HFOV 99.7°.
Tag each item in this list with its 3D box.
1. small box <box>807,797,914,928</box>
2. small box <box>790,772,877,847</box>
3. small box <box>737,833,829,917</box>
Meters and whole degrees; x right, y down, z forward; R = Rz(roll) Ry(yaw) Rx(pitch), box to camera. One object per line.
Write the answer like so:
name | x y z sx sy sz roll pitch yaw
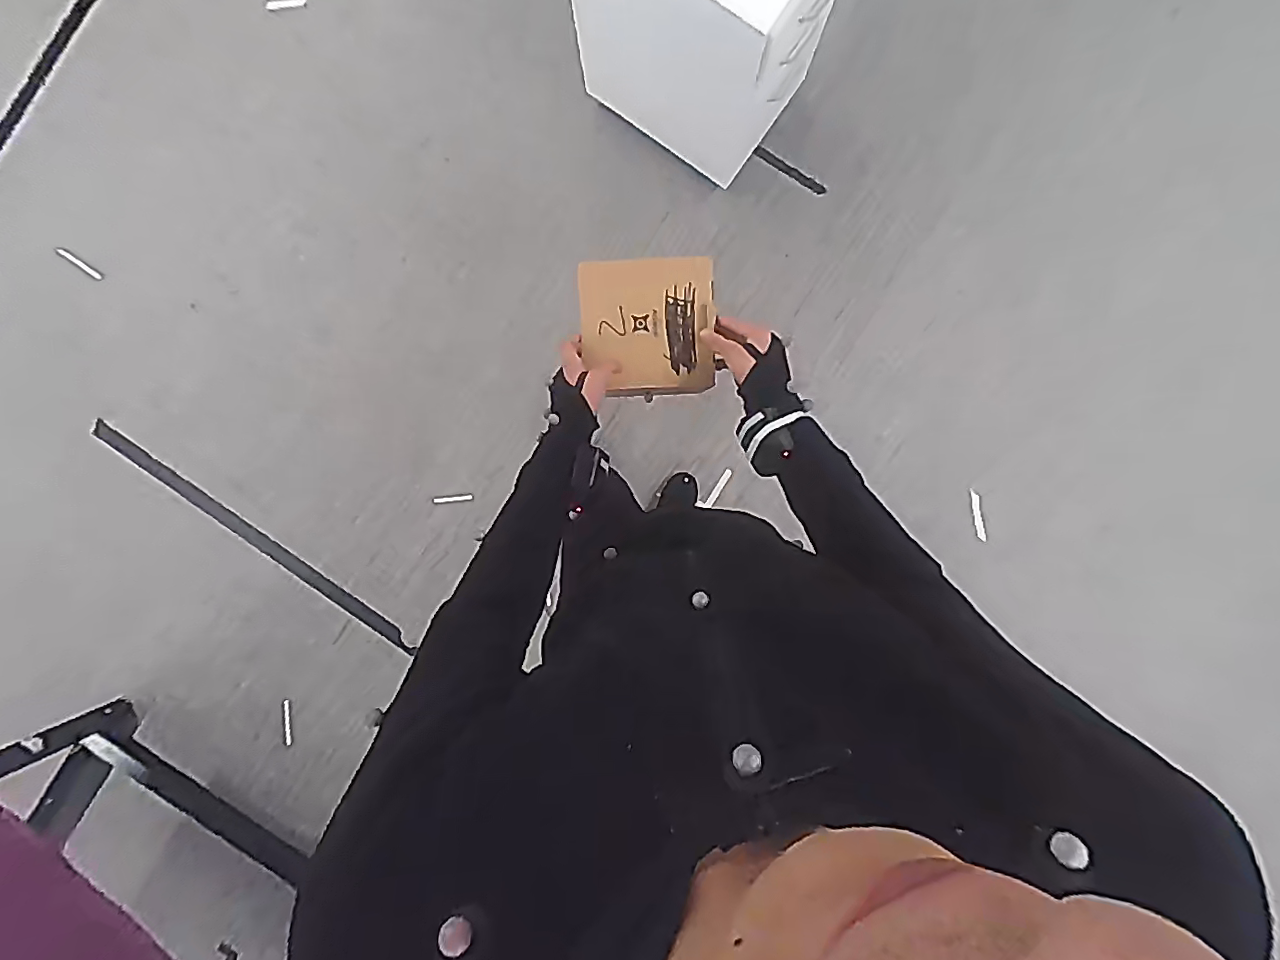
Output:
small box | 0.555 0.979 1.398 0.168 0.176 0.179 43 91 0
small box | 0.565 0.991 1.562 0.179 0.176 0.168 39 90 0
small box | 0.407 1.180 1.570 0.179 0.176 0.168 35 91 0
